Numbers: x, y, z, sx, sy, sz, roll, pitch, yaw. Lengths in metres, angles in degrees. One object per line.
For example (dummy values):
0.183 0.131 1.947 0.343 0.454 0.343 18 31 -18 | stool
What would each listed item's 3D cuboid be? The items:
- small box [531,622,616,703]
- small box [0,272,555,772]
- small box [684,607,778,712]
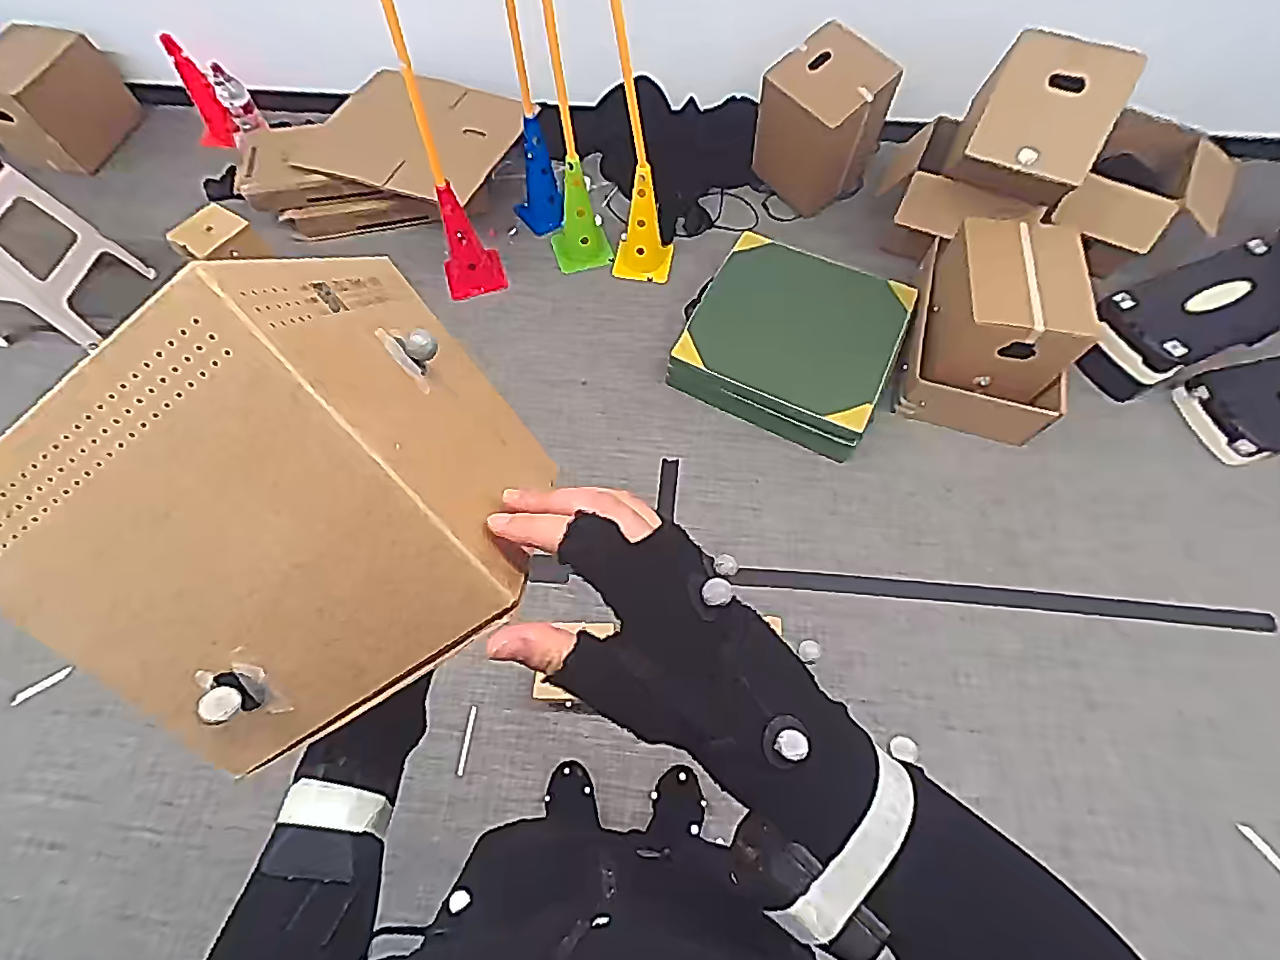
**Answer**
-0.151 0.440 1.292 0.179 0.176 0.168 1 65 0 | small box
-0.172 0.009 0.298 0.179 0.168 0.176 -33 111 10 | small box
0.187 0.383 1.142 0.168 0.176 0.179 8 66 5 | small box
